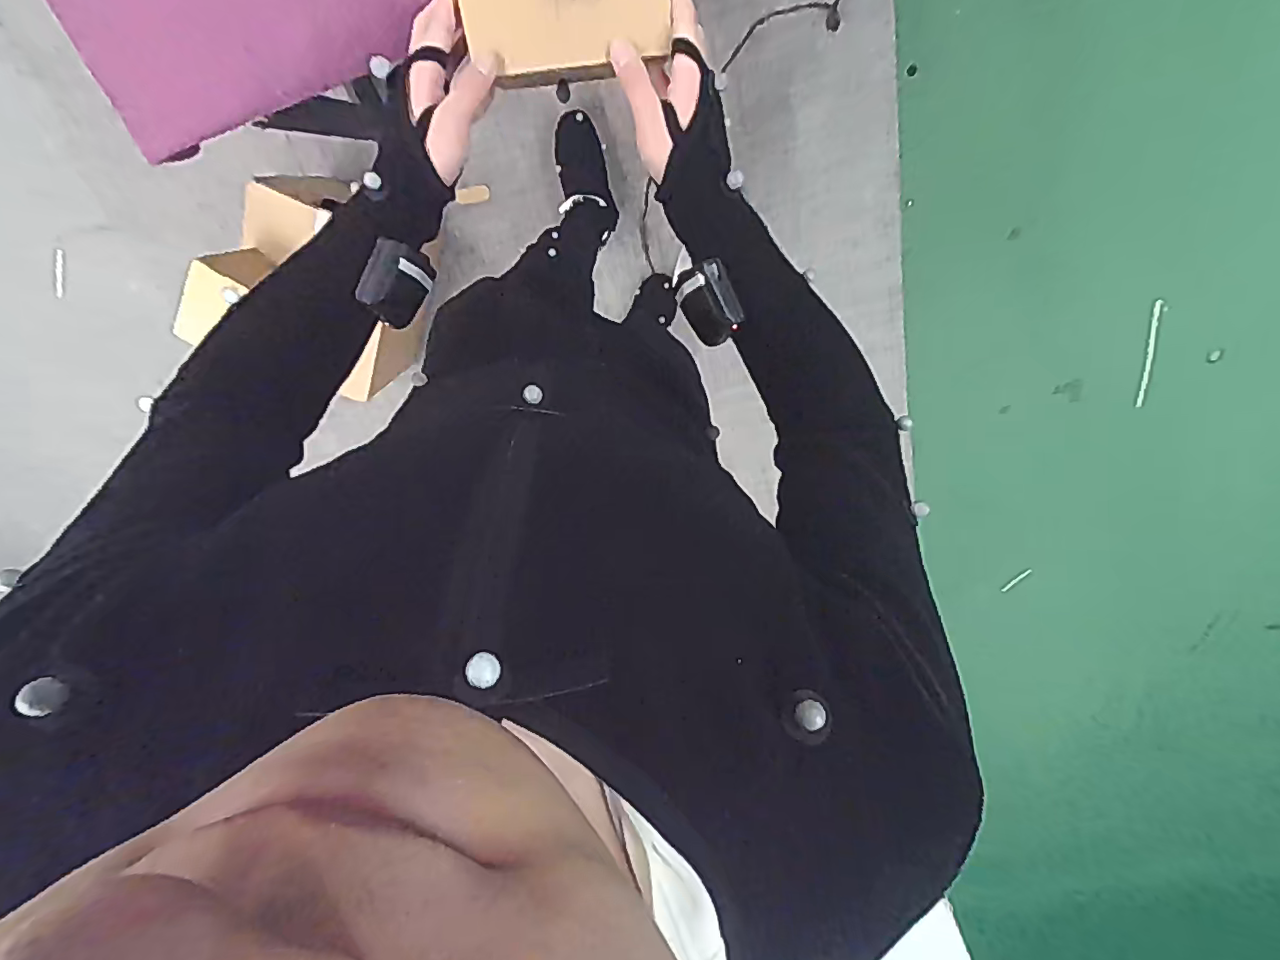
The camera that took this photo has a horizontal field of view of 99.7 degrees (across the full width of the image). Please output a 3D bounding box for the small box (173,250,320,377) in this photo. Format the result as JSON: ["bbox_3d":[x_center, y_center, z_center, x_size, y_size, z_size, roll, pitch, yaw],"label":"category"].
[{"bbox_3d":[-0.809,-0.350,1.126,0.168,0.176,0.179,33,115,-14],"label":"small box"}]

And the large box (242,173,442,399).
[{"bbox_3d":[-0.726,-0.477,1.332,0.320,0.320,0.408,21,117,-11],"label":"large box"}]

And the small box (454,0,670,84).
[{"bbox_3d":[-0.068,-0.450,0.449,0.168,0.176,0.179,-6,124,1],"label":"small box"}]
